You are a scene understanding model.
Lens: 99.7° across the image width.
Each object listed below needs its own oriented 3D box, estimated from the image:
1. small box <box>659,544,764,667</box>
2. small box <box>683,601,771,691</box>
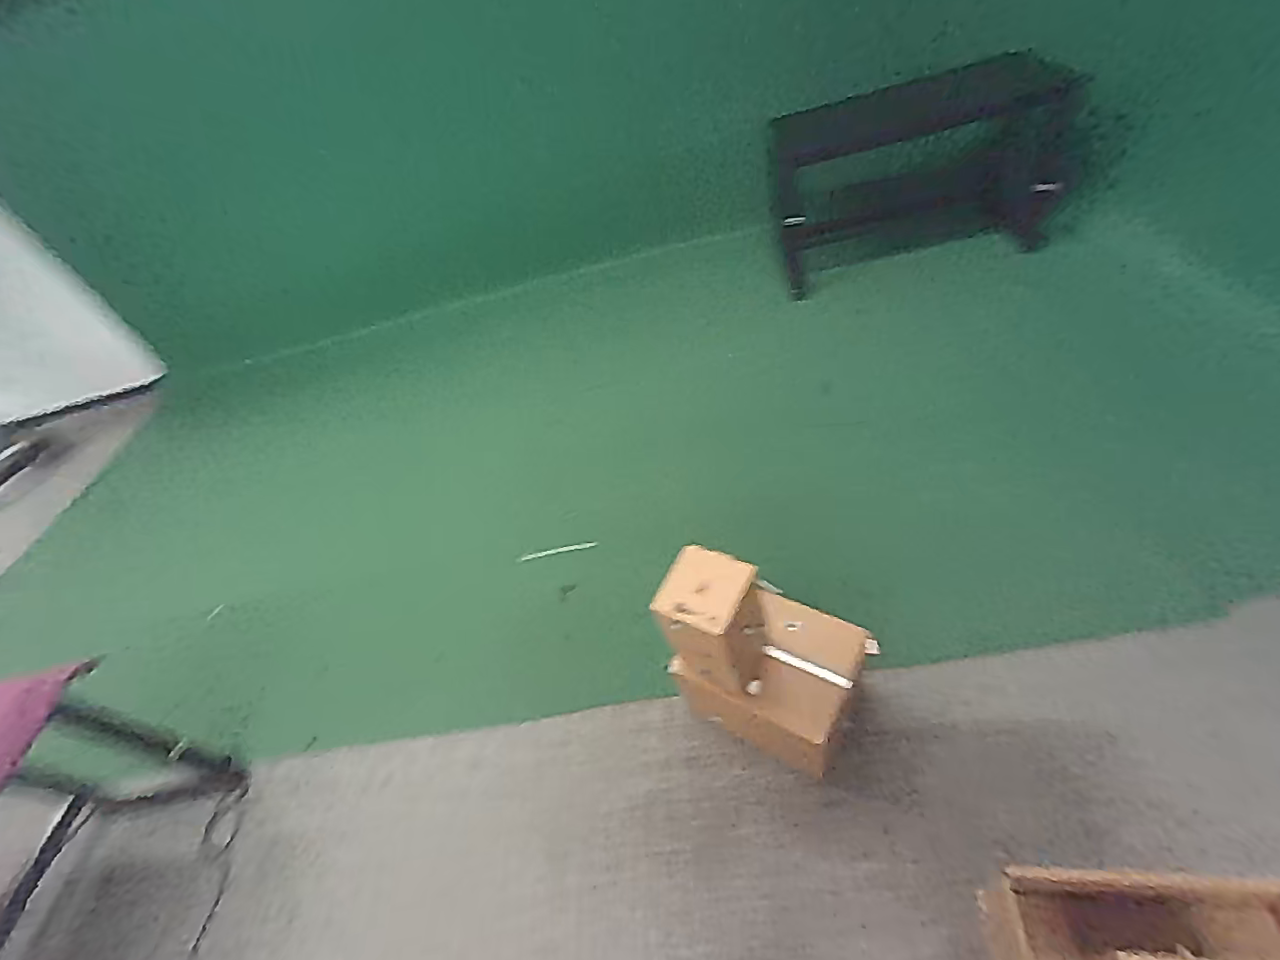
[{"bbox_3d":[0.165,0.278,1.196,0.168,0.176,0.179,17,56,31],"label":"small box"},{"bbox_3d":[0.210,0.378,1.318,0.168,0.176,0.179,17,57,31],"label":"small box"}]
